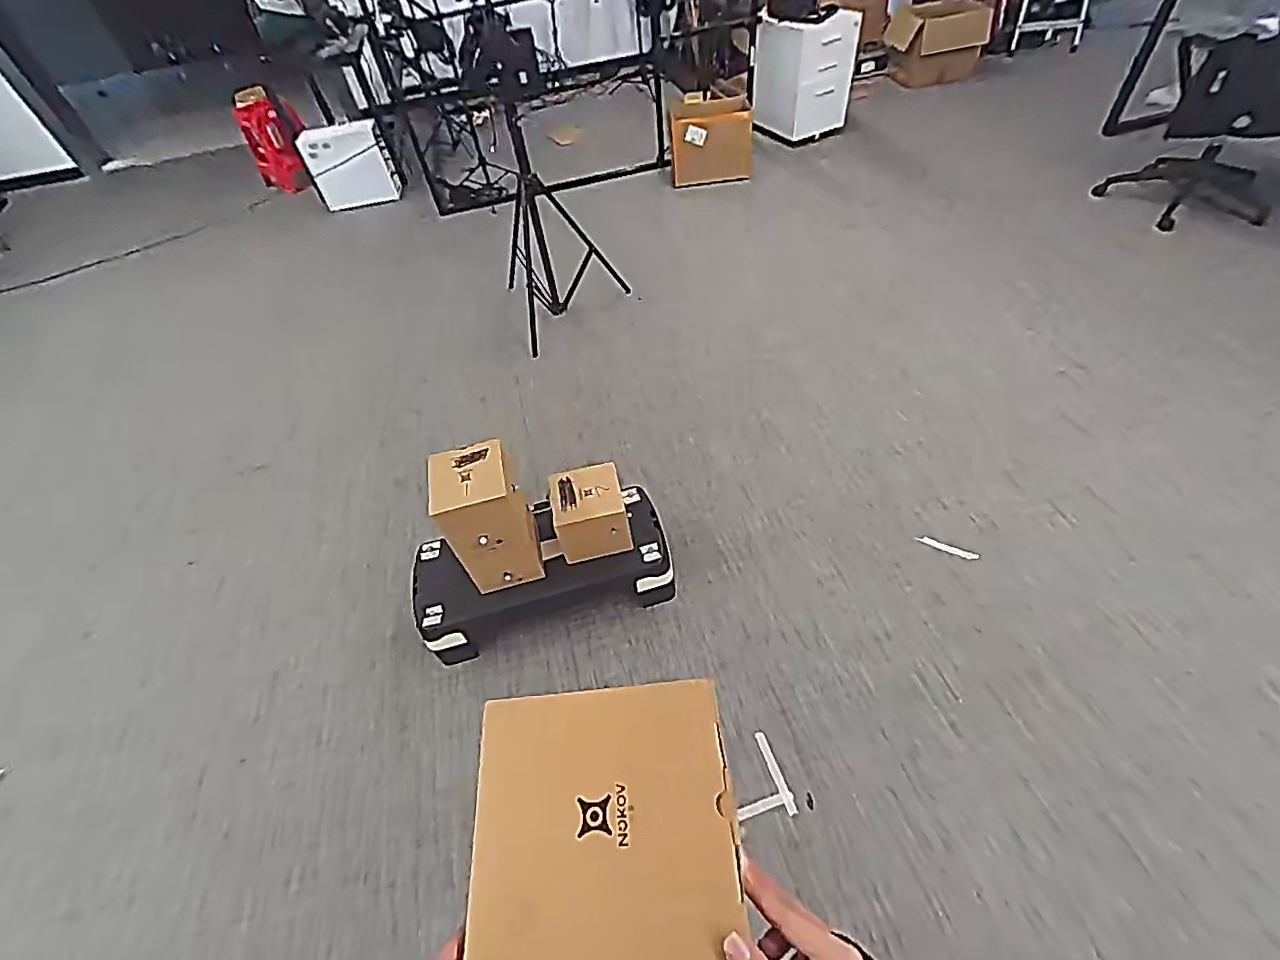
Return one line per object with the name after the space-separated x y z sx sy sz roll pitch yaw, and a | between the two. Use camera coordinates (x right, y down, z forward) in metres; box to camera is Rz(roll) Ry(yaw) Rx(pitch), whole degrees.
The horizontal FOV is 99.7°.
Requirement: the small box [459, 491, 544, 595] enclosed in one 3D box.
-0.347 0.159 1.359 0.168 0.176 0.179 -14 50 -4 | small box

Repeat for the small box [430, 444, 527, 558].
-0.366 0.050 1.236 0.168 0.176 0.179 -15 50 -4 | small box

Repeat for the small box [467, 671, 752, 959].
-0.015 0.265 0.430 0.179 0.176 0.168 -7 55 2 | small box

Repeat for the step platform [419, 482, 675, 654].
-0.254 0.236 1.509 0.684 0.204 0.286 -16 49 -5 | step platform
